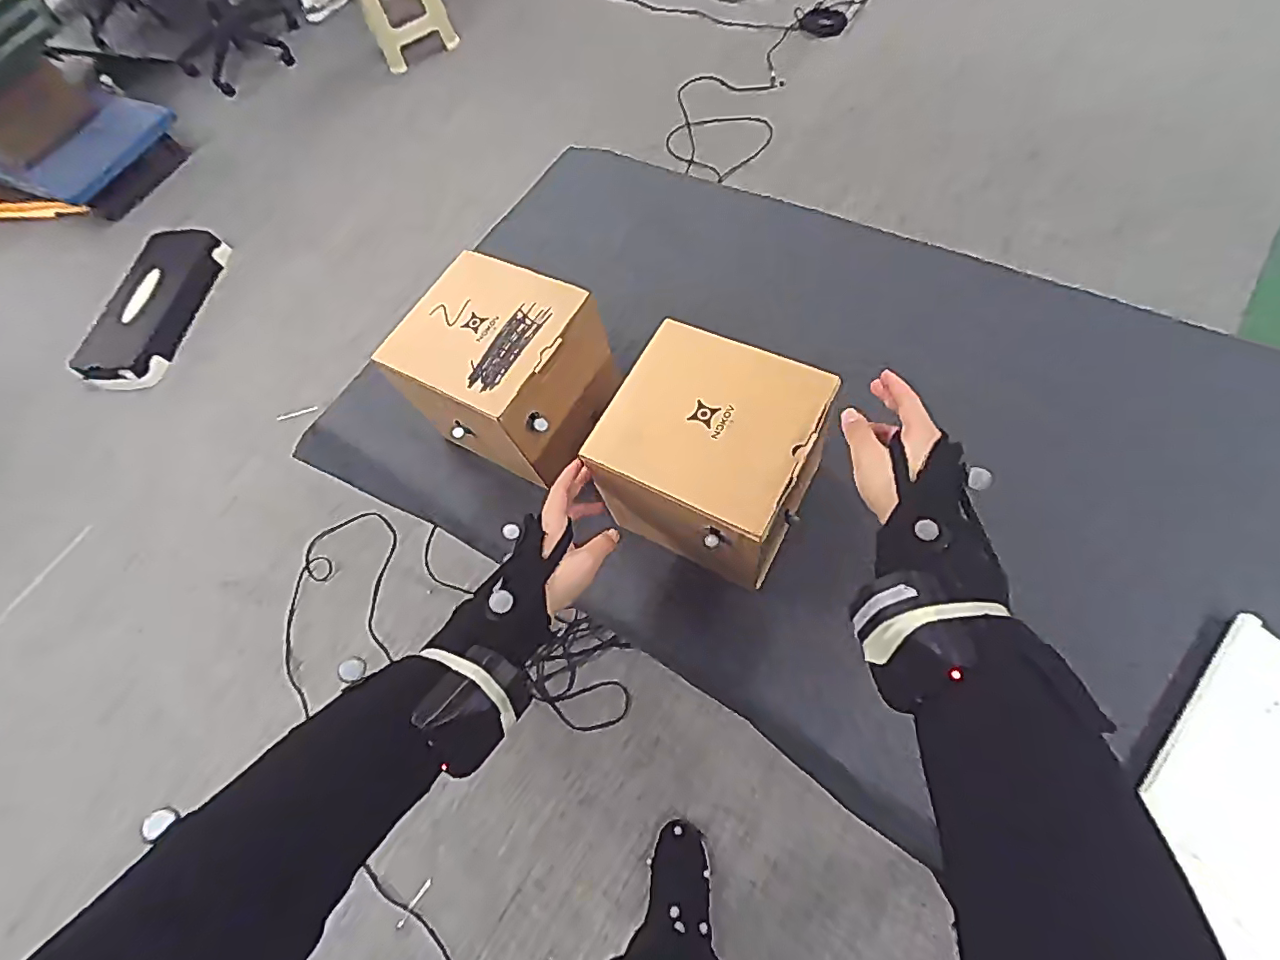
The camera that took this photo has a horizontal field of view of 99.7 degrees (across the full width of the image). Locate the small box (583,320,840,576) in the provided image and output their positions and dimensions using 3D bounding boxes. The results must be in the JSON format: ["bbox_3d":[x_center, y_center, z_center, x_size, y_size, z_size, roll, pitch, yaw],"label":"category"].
[{"bbox_3d":[0.072,-0.023,0.543,0.179,0.176,0.168,24,71,18],"label":"small box"}]
